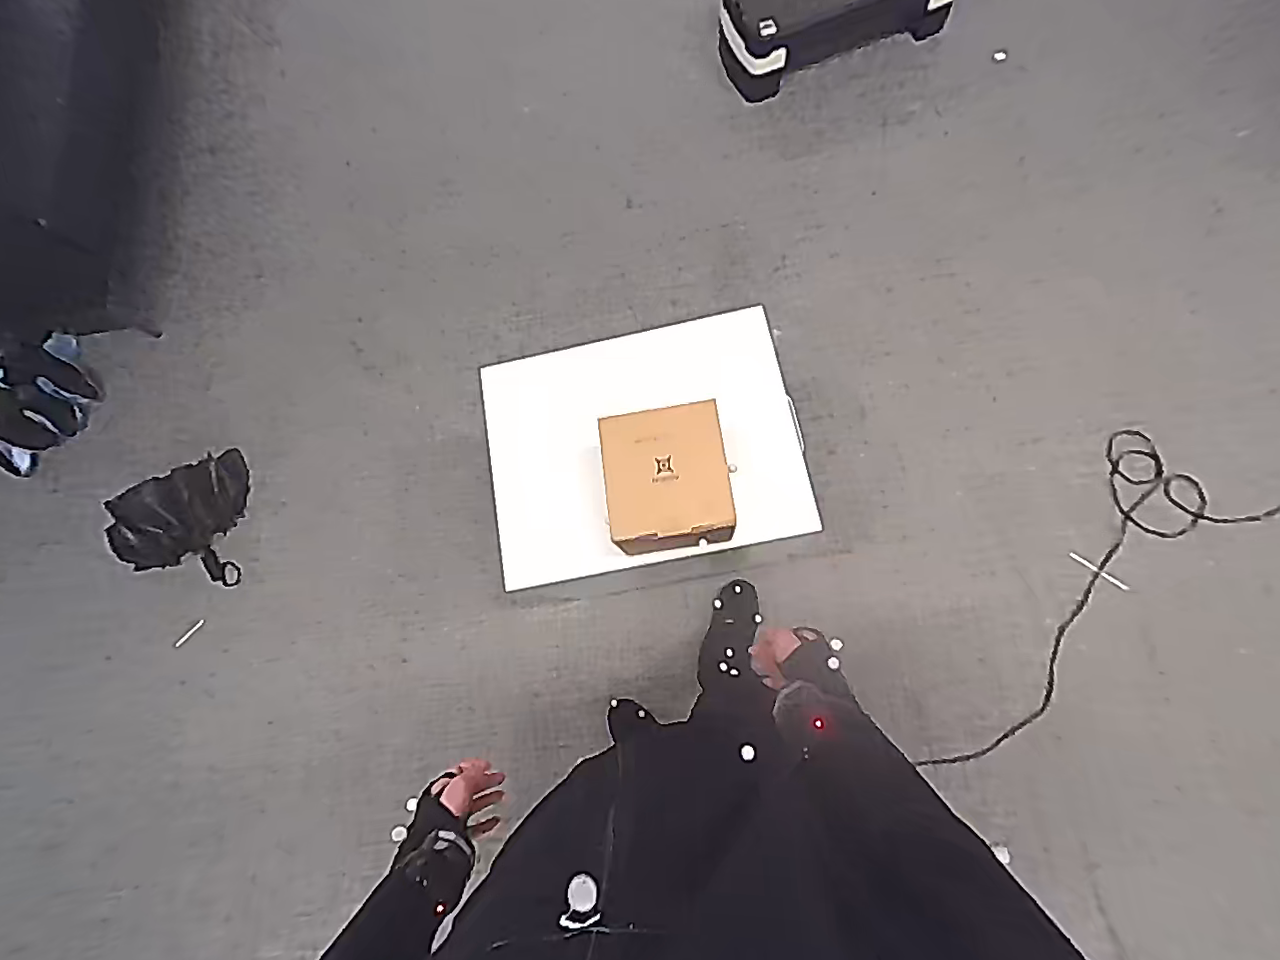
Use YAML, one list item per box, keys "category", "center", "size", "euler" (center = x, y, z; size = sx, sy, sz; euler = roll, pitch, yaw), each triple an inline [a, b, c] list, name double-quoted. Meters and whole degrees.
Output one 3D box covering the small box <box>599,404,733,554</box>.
- category: "small box"
  center: [0.041, 0.010, 0.795]
  size: [0.168, 0.176, 0.179]
  euler: [-8, 74, 3]
